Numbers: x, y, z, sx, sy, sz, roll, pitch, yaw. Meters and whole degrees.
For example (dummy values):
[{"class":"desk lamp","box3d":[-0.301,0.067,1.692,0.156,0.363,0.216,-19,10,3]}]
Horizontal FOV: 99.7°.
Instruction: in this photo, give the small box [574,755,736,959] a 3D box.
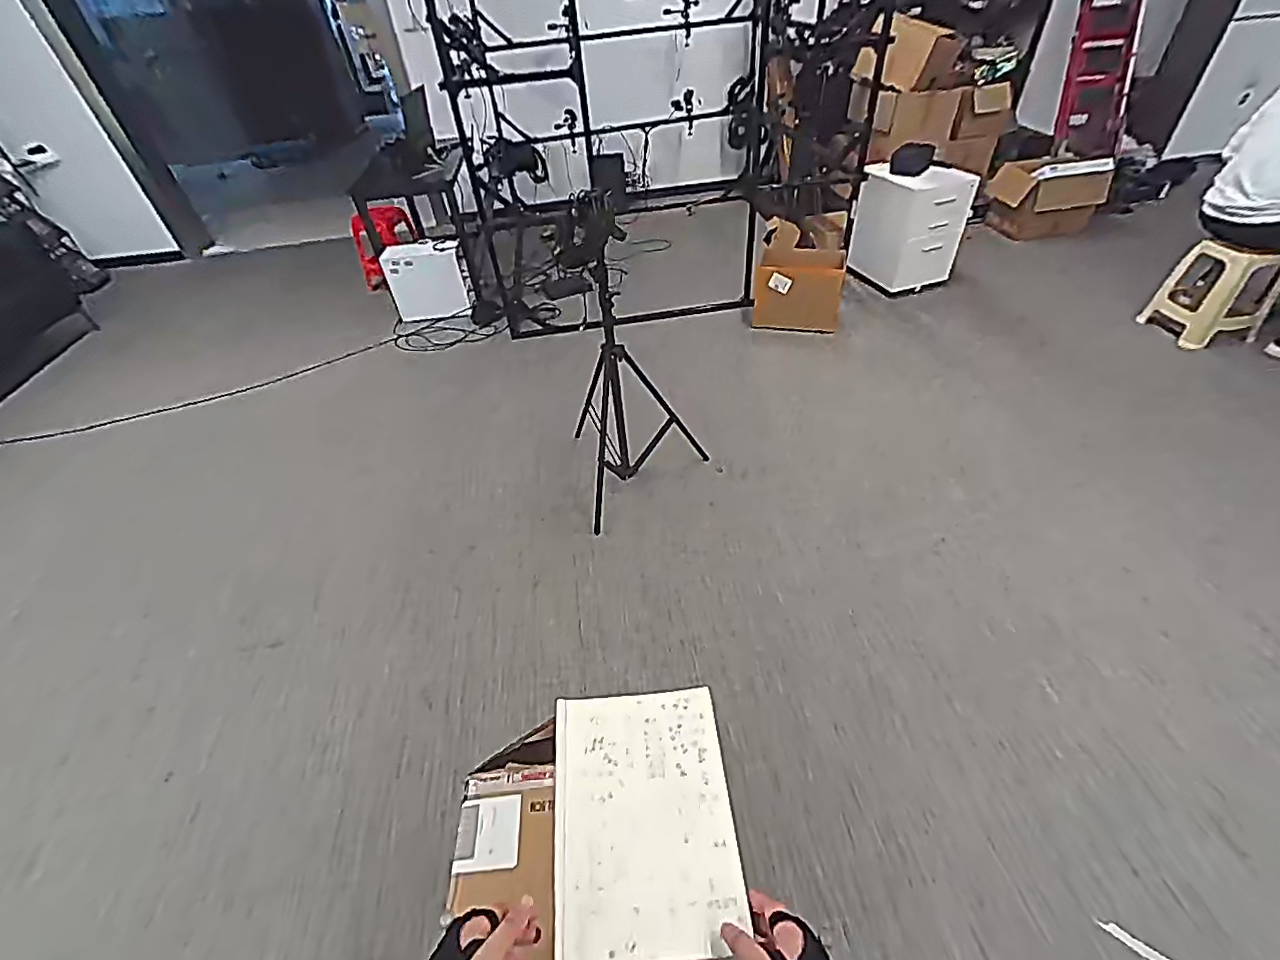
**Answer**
[{"class":"small box","box3d":[0.010,0.469,0.665,0.168,0.176,0.179,-7,44,-4]}]
